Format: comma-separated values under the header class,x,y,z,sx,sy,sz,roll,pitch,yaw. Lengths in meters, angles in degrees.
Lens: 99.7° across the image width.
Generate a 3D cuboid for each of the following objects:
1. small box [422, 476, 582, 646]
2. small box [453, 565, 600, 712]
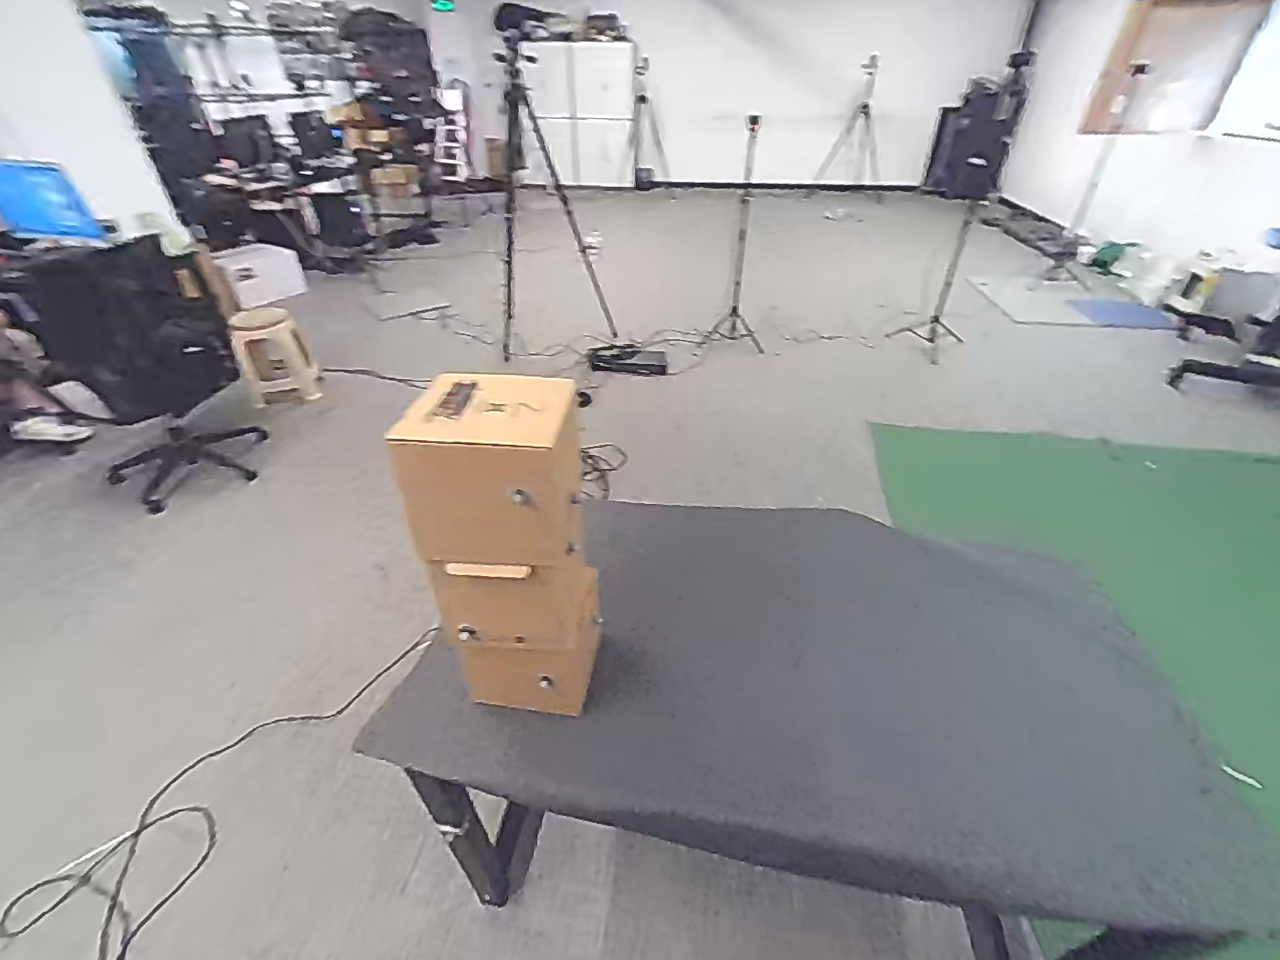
class,x,y,z,sx,sy,sz,roll,pitch,yaw
small box,-0.177,0.113,0.763,0.168,0.176,0.179,2,35,3
small box,-0.165,0.245,0.860,0.179,0.176,0.168,3,35,7
